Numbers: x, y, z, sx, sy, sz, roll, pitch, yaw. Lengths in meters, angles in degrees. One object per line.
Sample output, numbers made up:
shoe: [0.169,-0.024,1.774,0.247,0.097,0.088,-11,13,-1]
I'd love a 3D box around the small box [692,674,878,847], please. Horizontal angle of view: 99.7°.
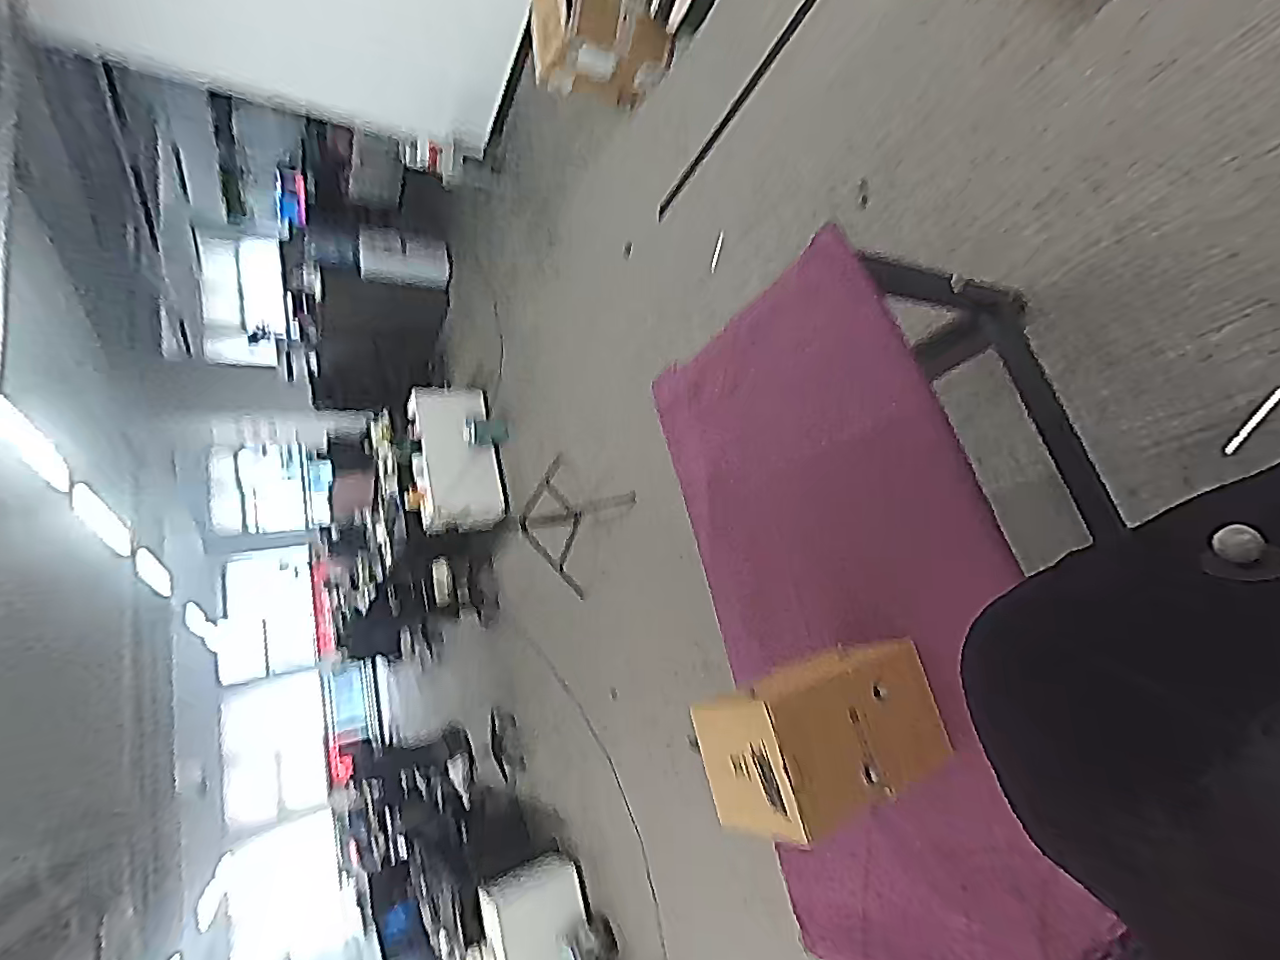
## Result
small box: [0.207,0.384,0.769,0.179,0.176,0.168,-38,62,53]

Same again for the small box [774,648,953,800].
small box: [0.348,0.370,0.853,0.168,0.176,0.179,-36,65,53]
